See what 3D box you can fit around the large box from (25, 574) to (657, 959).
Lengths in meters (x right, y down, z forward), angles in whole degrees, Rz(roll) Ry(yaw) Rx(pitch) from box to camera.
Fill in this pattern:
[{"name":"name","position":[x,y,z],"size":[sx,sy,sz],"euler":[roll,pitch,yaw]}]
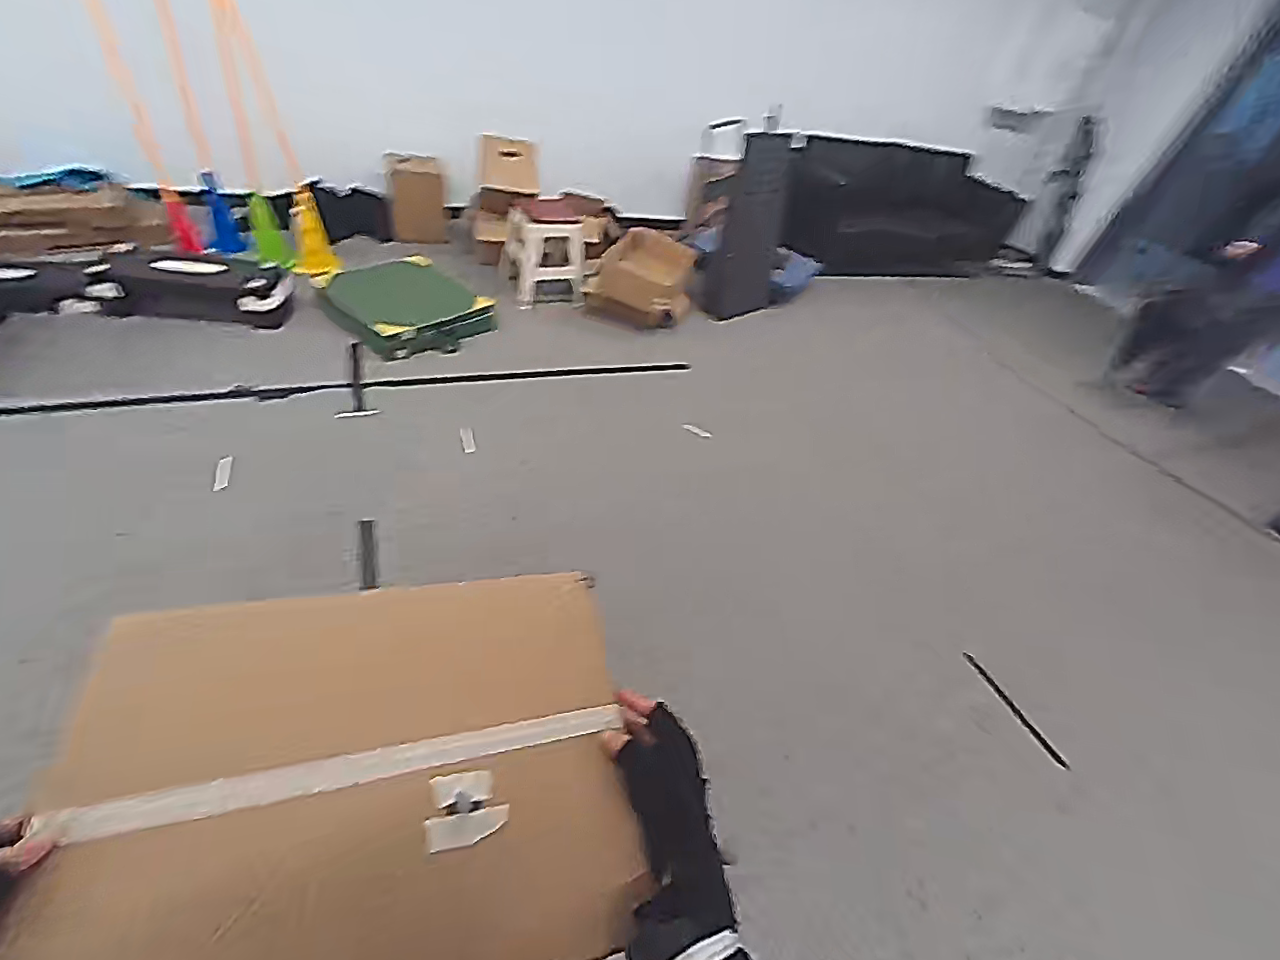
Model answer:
[{"name":"large box","position":[-0.246,0.325,0.549],"size":[0.408,0.320,0.320],"euler":[-2,51,-21]}]
